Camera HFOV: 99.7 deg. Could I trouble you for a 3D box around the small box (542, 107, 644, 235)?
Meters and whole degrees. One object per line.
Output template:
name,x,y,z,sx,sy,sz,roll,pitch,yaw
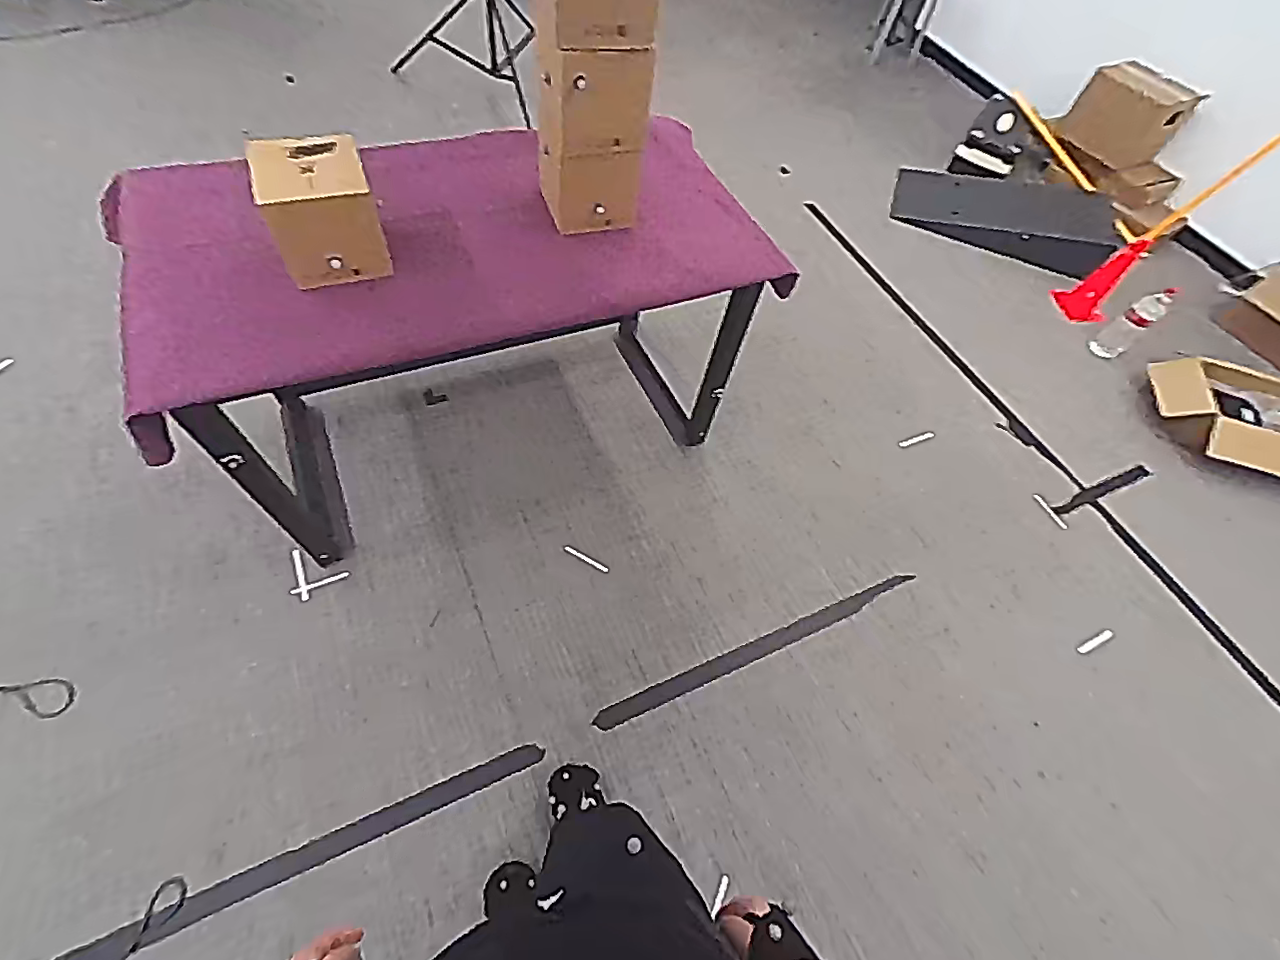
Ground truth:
small box,-0.105,-0.641,1.124,0.168,0.176,0.179,-14,62,-15

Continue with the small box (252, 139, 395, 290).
small box,-0.551,-0.467,0.956,0.168,0.176,0.179,-17,64,-17

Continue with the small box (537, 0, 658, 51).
small box,-0.067,-0.802,0.842,0.168,0.176,0.179,-11,60,-15
